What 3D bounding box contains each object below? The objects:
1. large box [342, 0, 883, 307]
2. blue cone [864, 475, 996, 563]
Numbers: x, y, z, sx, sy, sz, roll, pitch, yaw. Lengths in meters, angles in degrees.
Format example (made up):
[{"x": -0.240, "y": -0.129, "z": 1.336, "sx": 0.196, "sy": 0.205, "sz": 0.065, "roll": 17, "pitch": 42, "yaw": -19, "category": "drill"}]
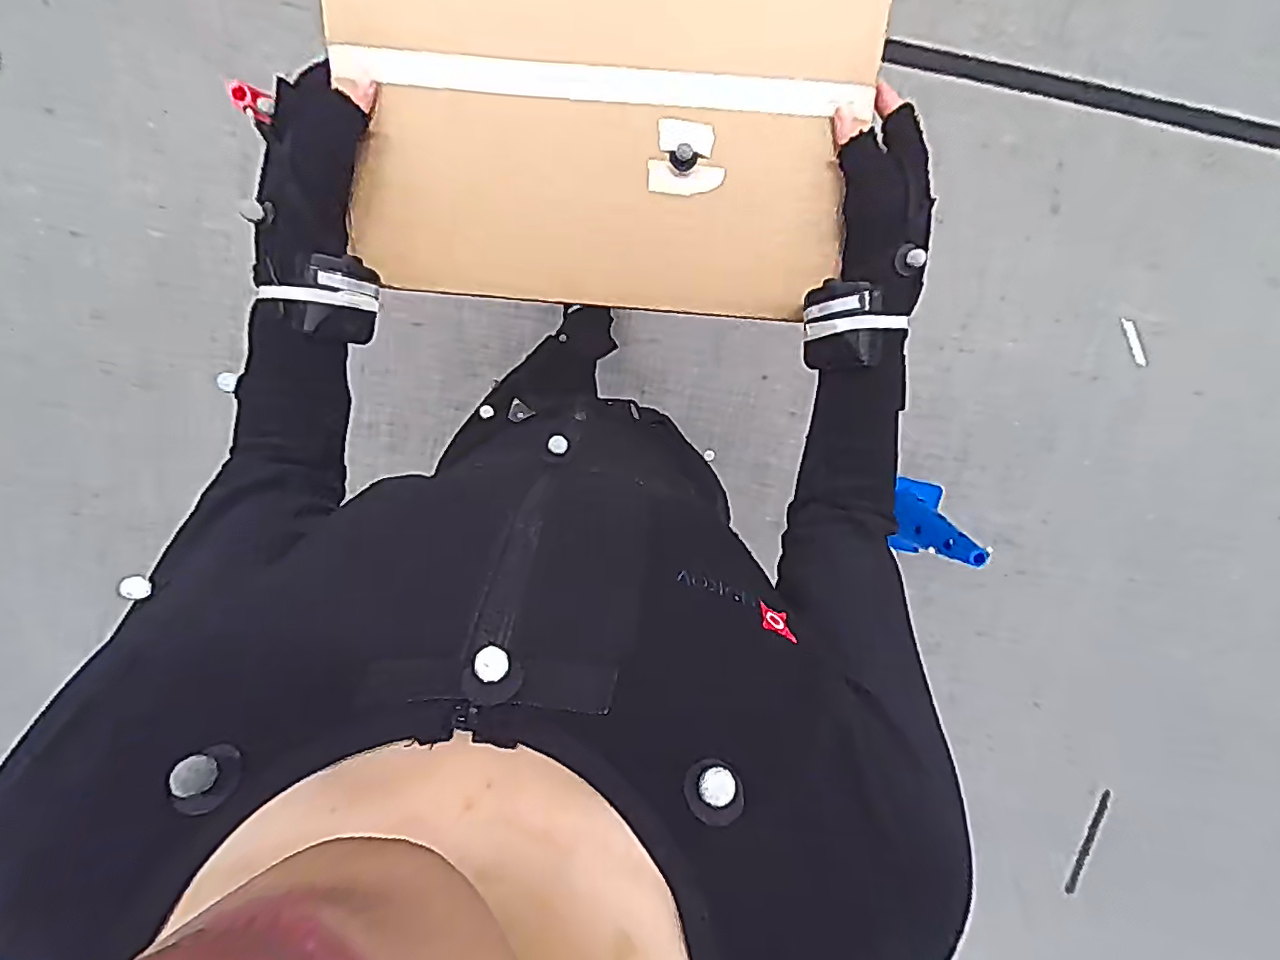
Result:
[{"x": -0.025, "y": -0.353, "z": 0.552, "sx": 0.408, "sy": 0.320, "sz": 0.320, "roll": 4, "pitch": 110, "yaw": -1, "category": "large box"}, {"x": 0.727, "y": 0.121, "z": 1.329, "sx": 0.192, "sy": 0.380, "sz": 0.193, "roll": 14, "pitch": 102, "yaw": -4, "category": "blue cone"}]
